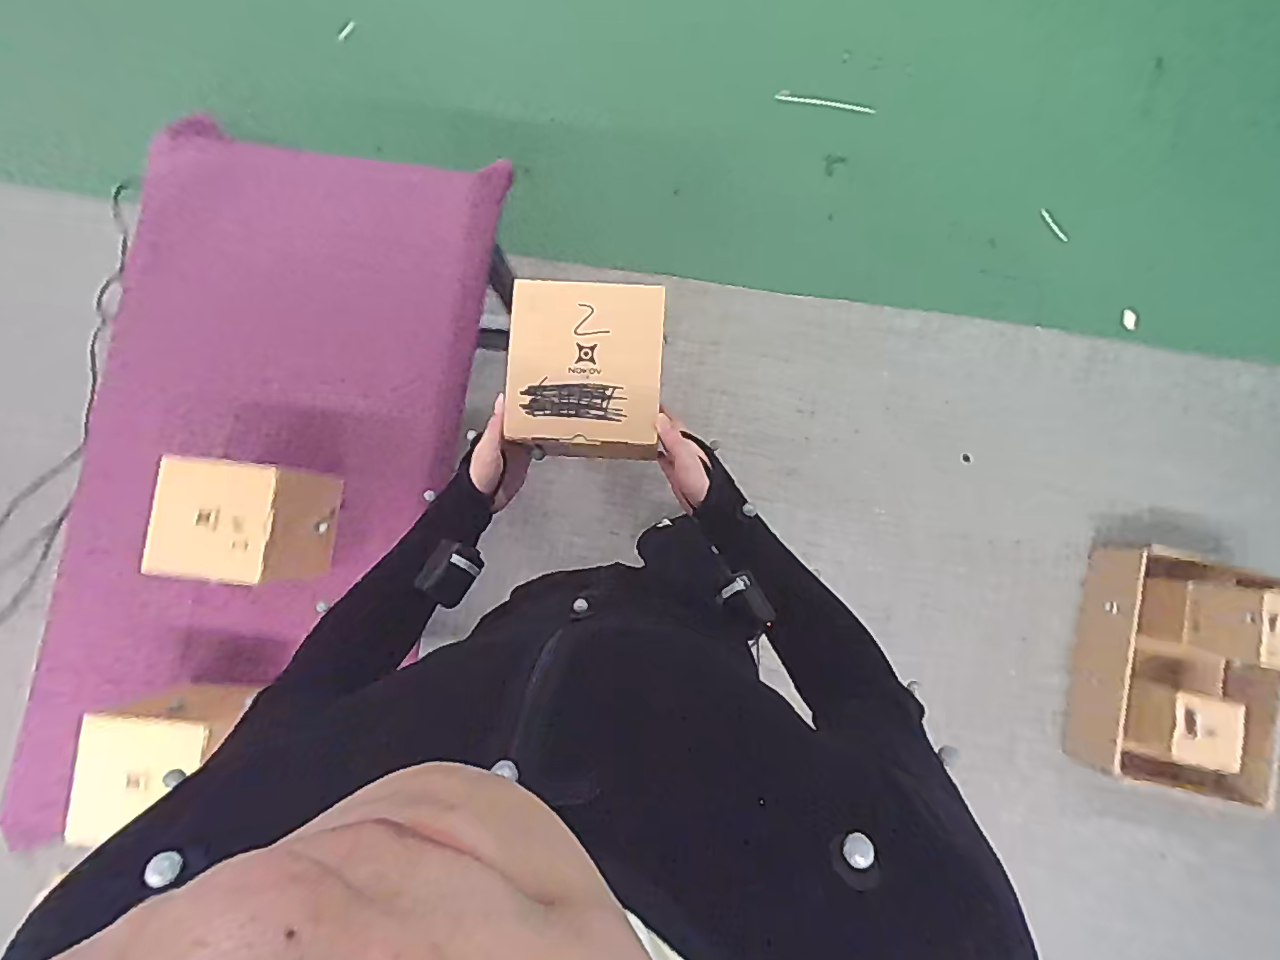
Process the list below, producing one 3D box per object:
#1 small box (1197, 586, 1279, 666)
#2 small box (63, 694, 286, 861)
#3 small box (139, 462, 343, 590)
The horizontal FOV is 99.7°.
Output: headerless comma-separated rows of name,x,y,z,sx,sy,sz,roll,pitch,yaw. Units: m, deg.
small box,1.491,0.349,1.274,0.179,0.176,0.168,10,84,1
small box,-0.676,0.428,0.806,0.179,0.176,0.168,3,84,1
small box,-0.603,0.072,0.839,0.179,0.176,0.168,6,85,2
